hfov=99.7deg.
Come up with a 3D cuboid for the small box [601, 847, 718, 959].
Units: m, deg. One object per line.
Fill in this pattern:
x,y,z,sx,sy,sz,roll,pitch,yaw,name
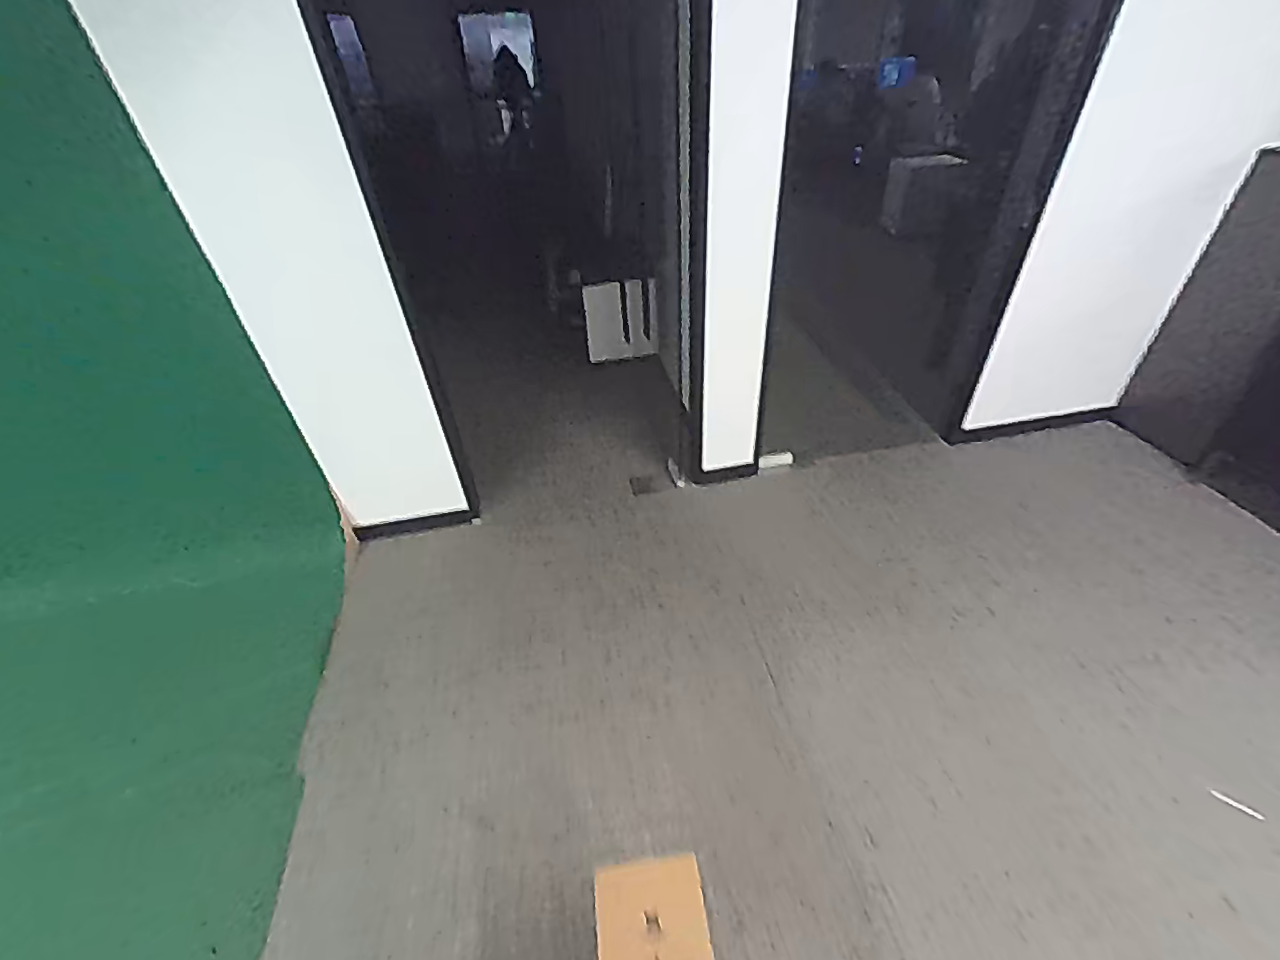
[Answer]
0.028,0.719,0.855,0.168,0.176,0.179,-6,39,-3,small box
